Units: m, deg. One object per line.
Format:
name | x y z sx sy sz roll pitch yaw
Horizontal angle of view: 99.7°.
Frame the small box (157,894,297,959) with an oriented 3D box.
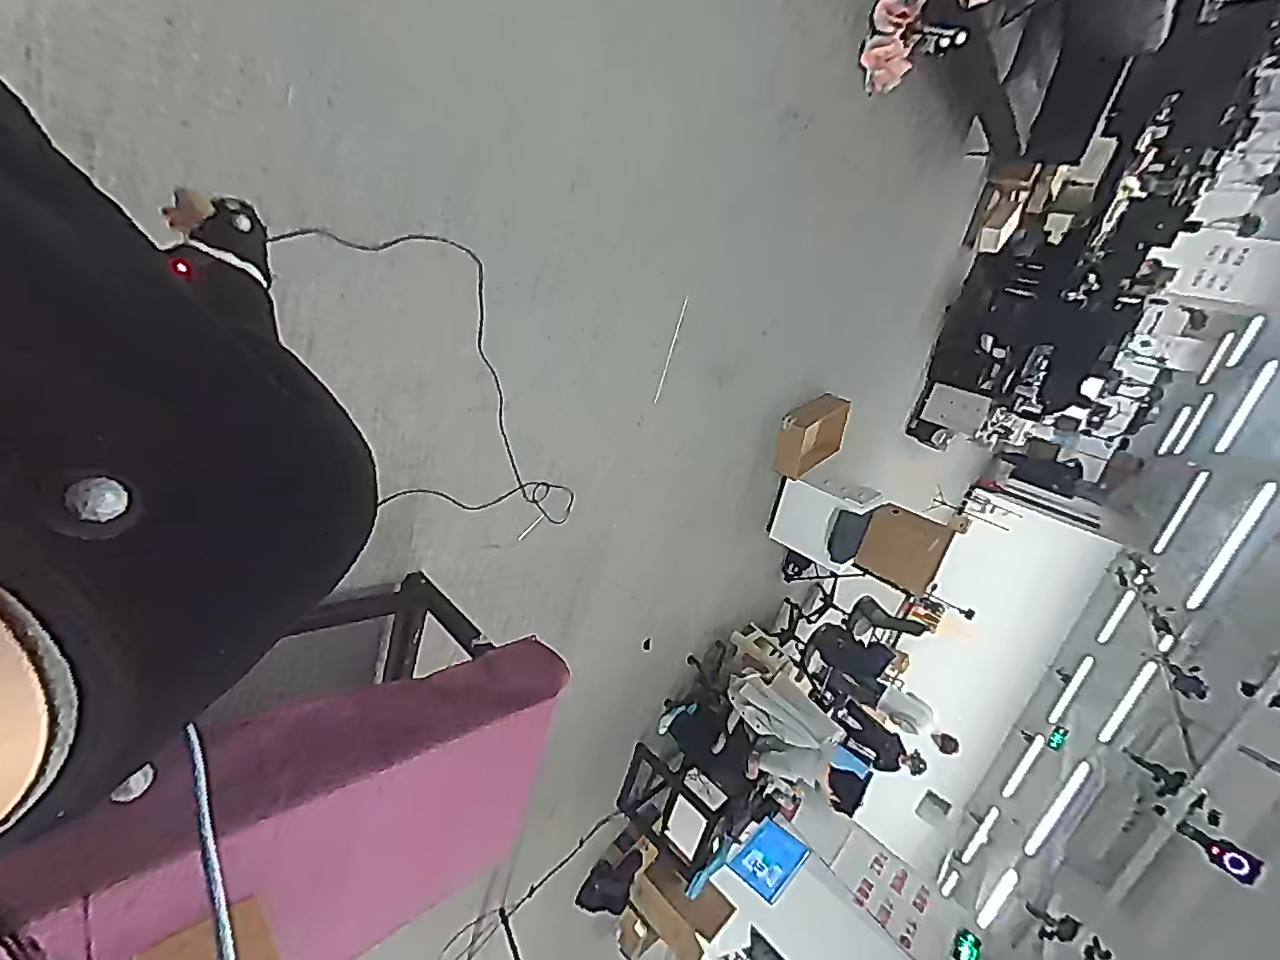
small box | -0.715 0.876 0.922 0.179 0.176 0.168 0 114 -50
